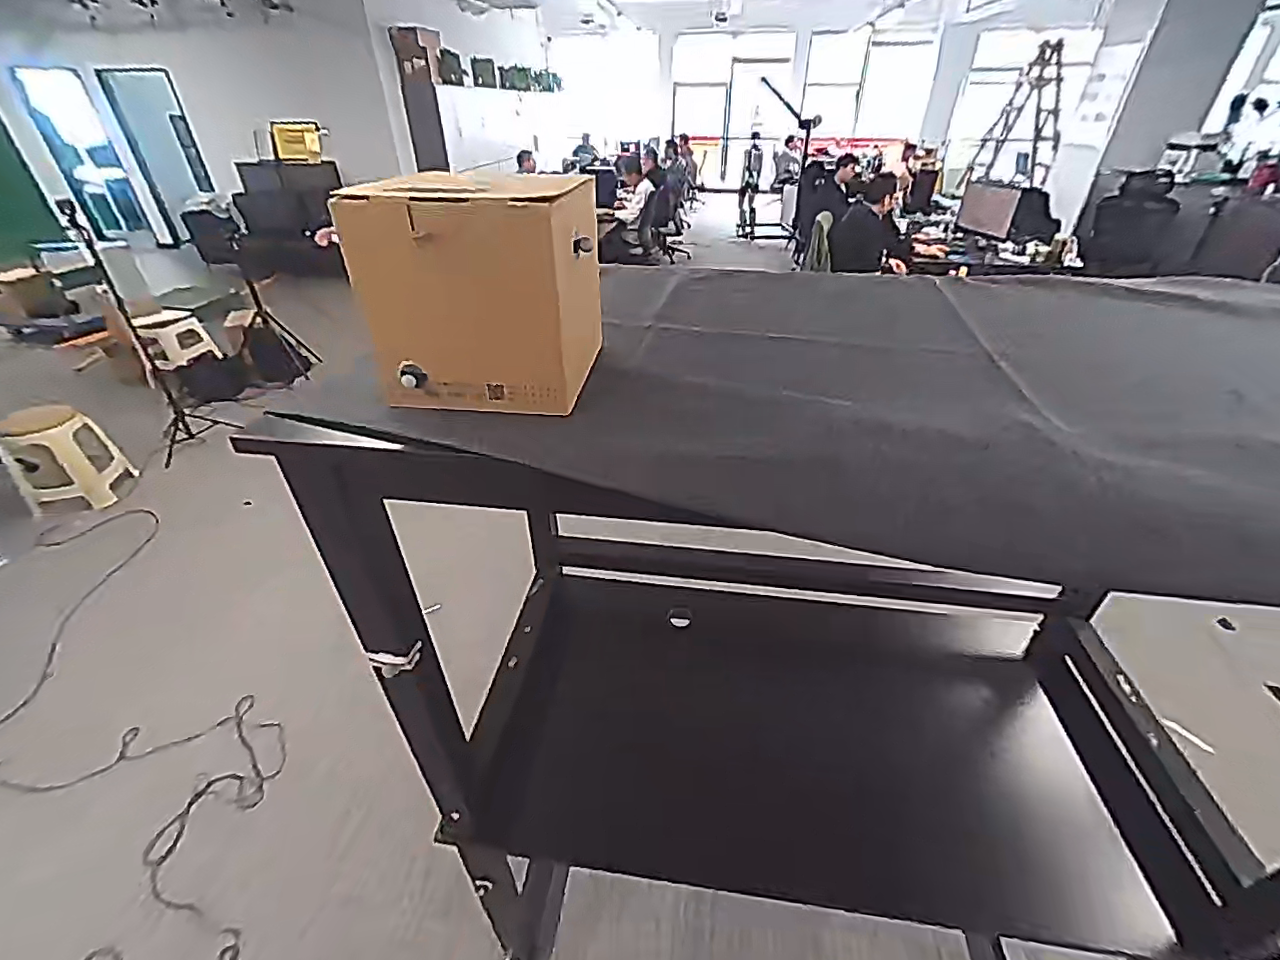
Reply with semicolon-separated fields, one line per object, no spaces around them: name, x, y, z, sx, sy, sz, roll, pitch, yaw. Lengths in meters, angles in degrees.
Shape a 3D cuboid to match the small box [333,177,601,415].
small box;-0.129;-0.170;0.490;0.168;0.176;0.179;4;34;5
